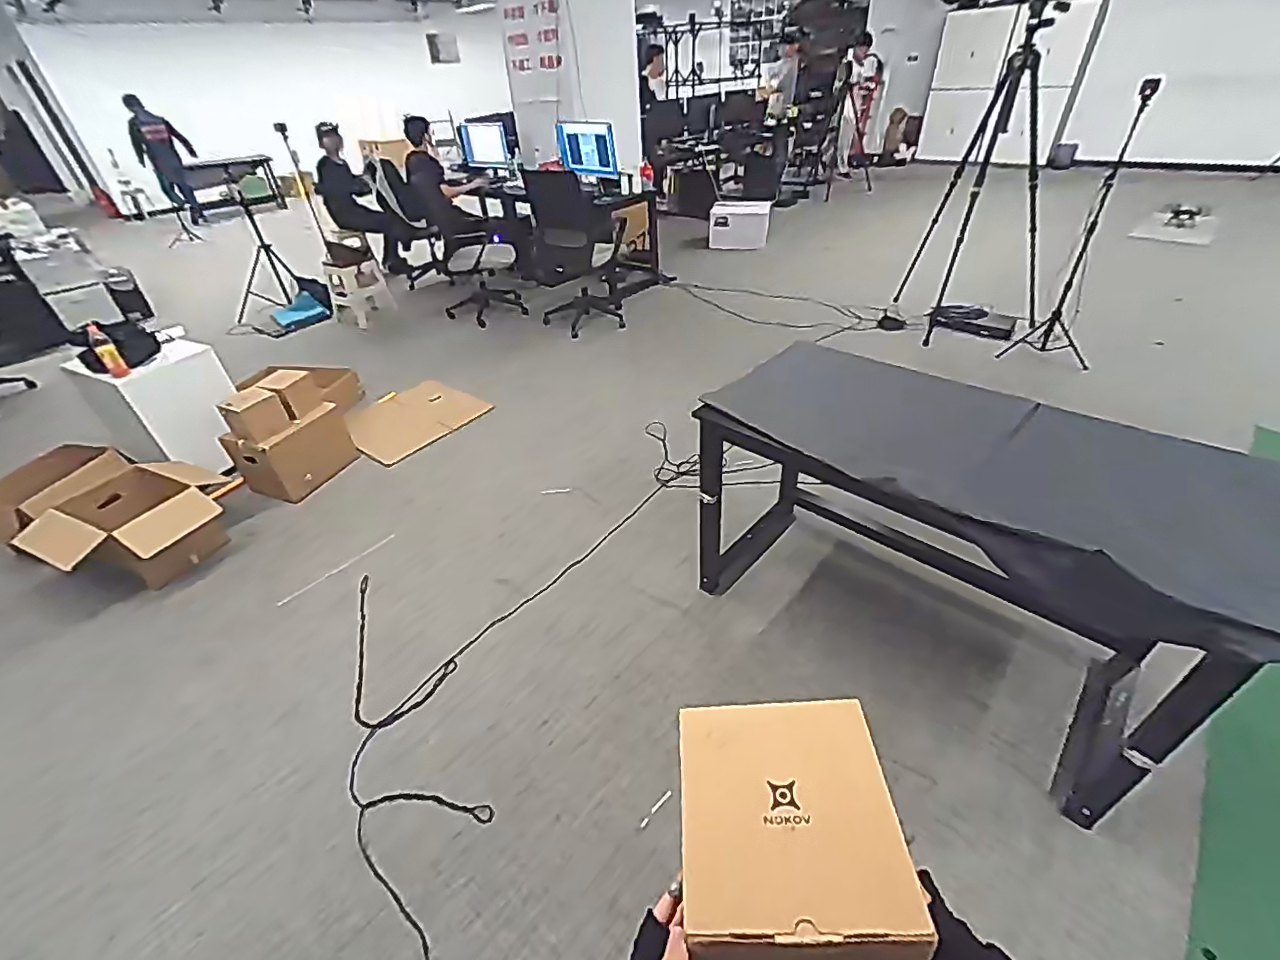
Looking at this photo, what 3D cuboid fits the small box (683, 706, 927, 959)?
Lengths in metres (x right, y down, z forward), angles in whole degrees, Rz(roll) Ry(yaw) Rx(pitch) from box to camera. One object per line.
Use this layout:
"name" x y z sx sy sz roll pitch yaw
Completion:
"small box" 0.127 0.331 0.484 0.168 0.176 0.179 -6 34 7
